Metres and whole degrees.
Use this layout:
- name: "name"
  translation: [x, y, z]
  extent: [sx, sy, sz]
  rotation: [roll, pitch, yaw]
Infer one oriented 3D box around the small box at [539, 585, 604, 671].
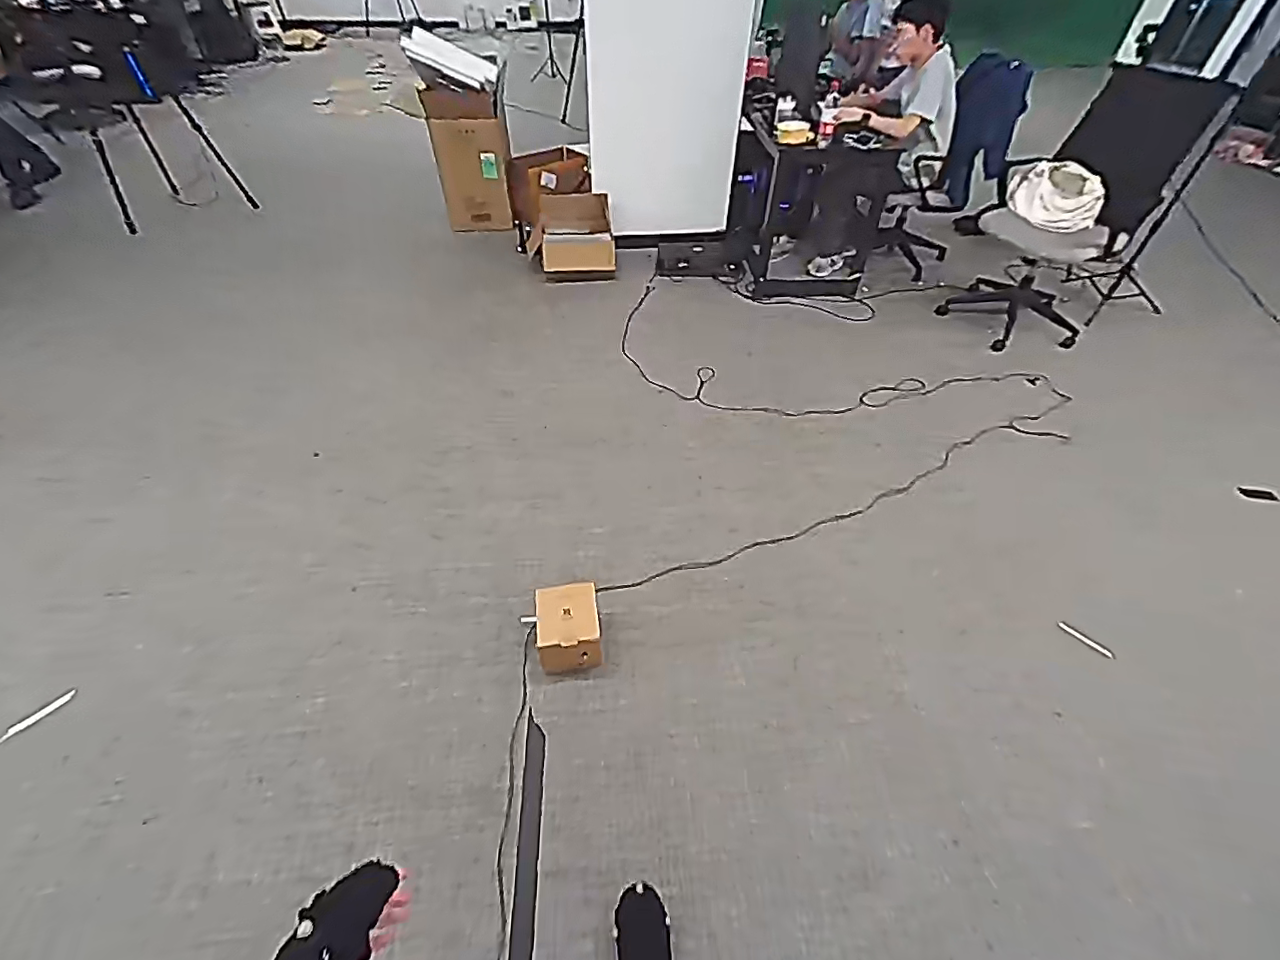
- name: "small box"
  translation: [-0.192, 0.420, 1.519]
  extent: [0.168, 0.176, 0.179]
  rotation: [-5, 47, -6]
